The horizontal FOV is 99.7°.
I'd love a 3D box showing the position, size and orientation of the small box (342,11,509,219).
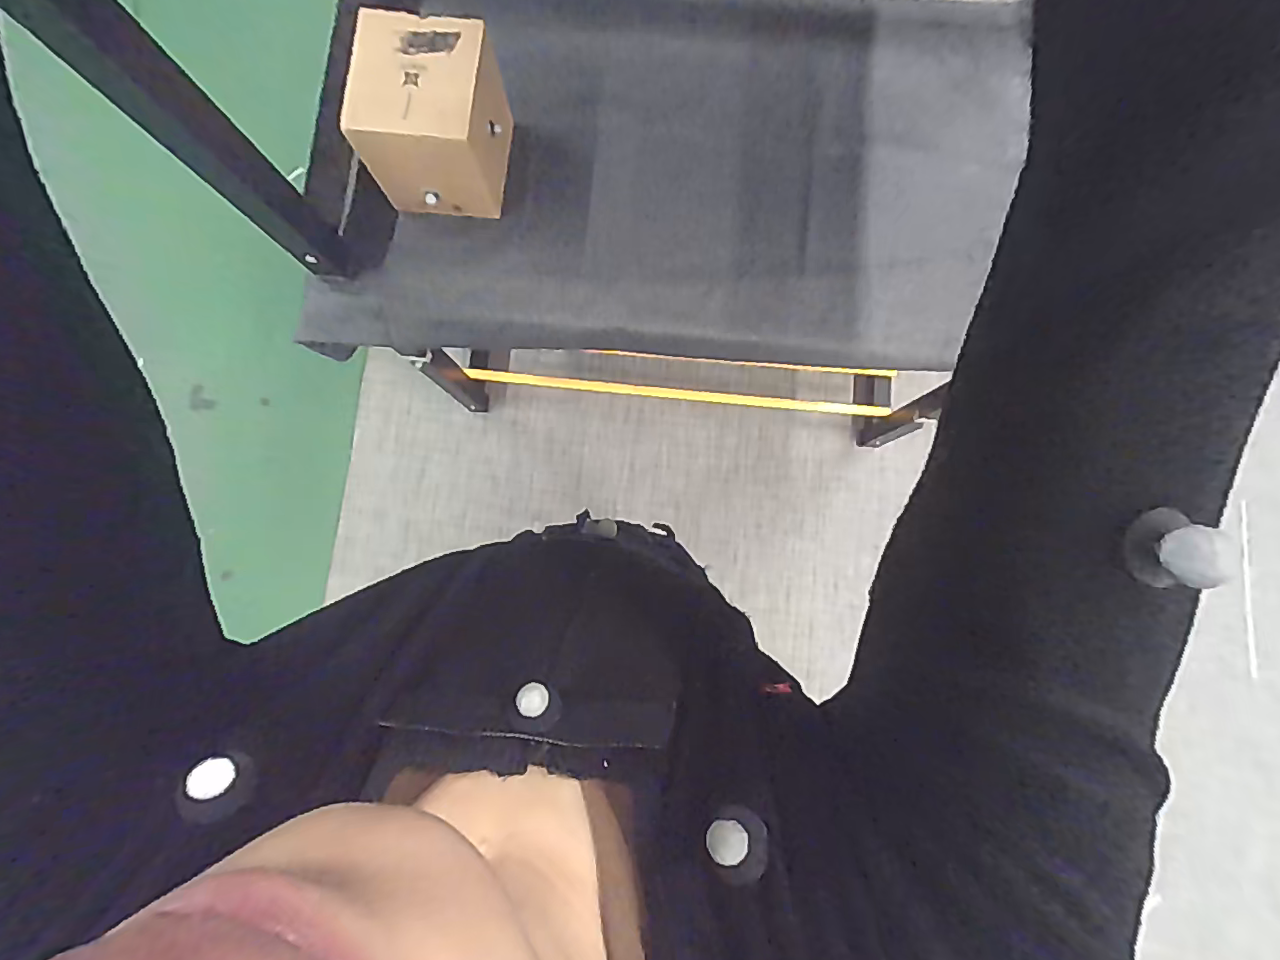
[{"bbox_3d":[-0.292,-0.512,0.778,0.168,0.176,0.179,5,82,0],"label":"small box"}]
